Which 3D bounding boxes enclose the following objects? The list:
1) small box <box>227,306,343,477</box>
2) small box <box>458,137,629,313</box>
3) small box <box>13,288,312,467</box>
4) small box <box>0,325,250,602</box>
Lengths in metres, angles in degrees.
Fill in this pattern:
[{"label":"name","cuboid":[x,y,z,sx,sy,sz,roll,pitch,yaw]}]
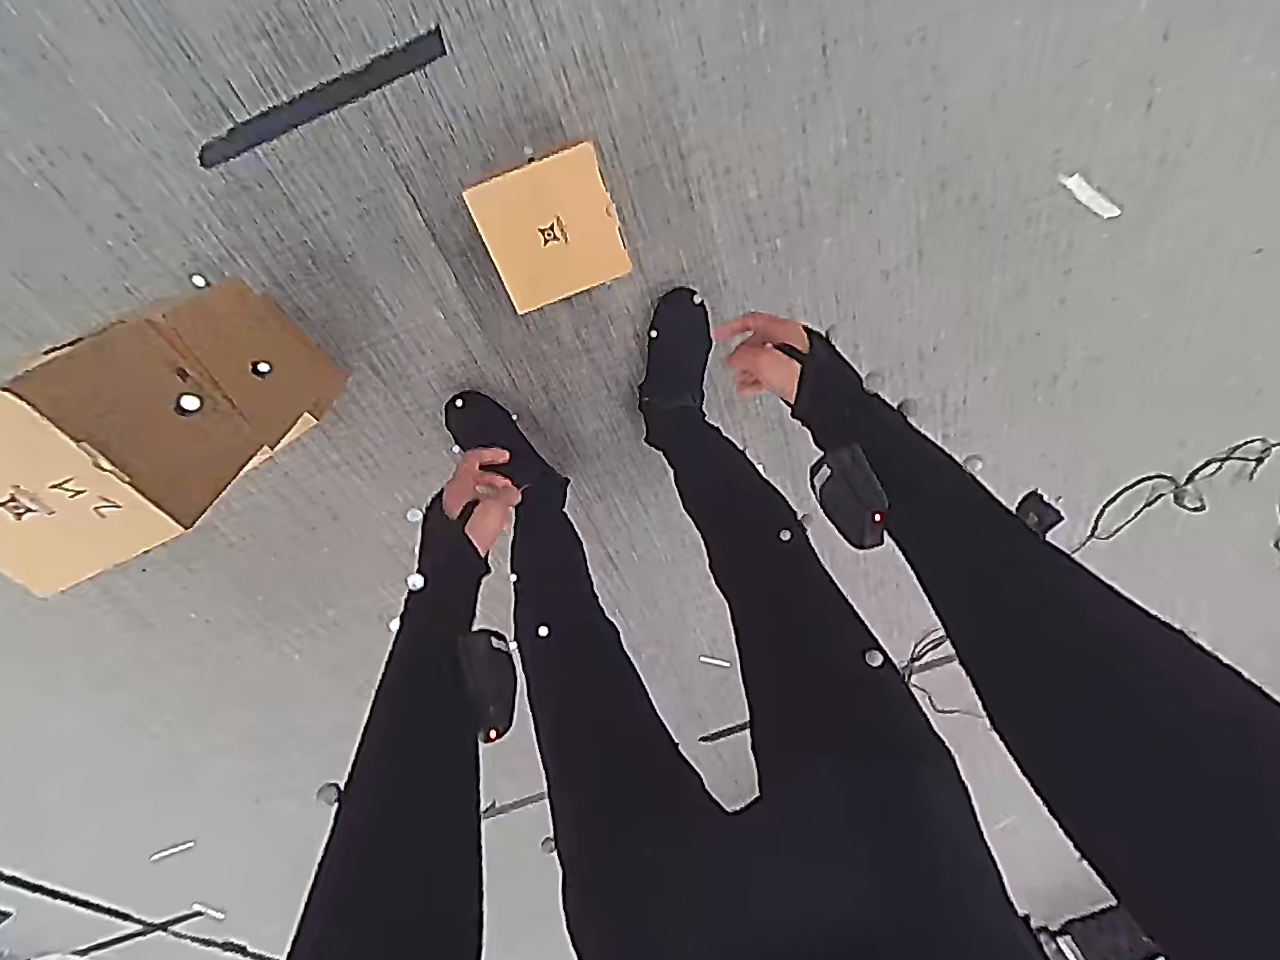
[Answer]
[{"label":"small box","cuboid":[-0.600,-0.143,0.825,0.168,0.176,0.179,-30,124,10]},{"label":"small box","cuboid":[-0.132,-0.364,0.767,0.179,0.176,0.168,-21,125,2]},{"label":"small box","cuboid":[-0.545,-0.116,0.654,0.168,0.176,0.179,-17,125,2]},{"label":"small box","cuboid":[-0.535,-0.021,0.520,0.179,0.176,0.168,-23,124,7]}]
